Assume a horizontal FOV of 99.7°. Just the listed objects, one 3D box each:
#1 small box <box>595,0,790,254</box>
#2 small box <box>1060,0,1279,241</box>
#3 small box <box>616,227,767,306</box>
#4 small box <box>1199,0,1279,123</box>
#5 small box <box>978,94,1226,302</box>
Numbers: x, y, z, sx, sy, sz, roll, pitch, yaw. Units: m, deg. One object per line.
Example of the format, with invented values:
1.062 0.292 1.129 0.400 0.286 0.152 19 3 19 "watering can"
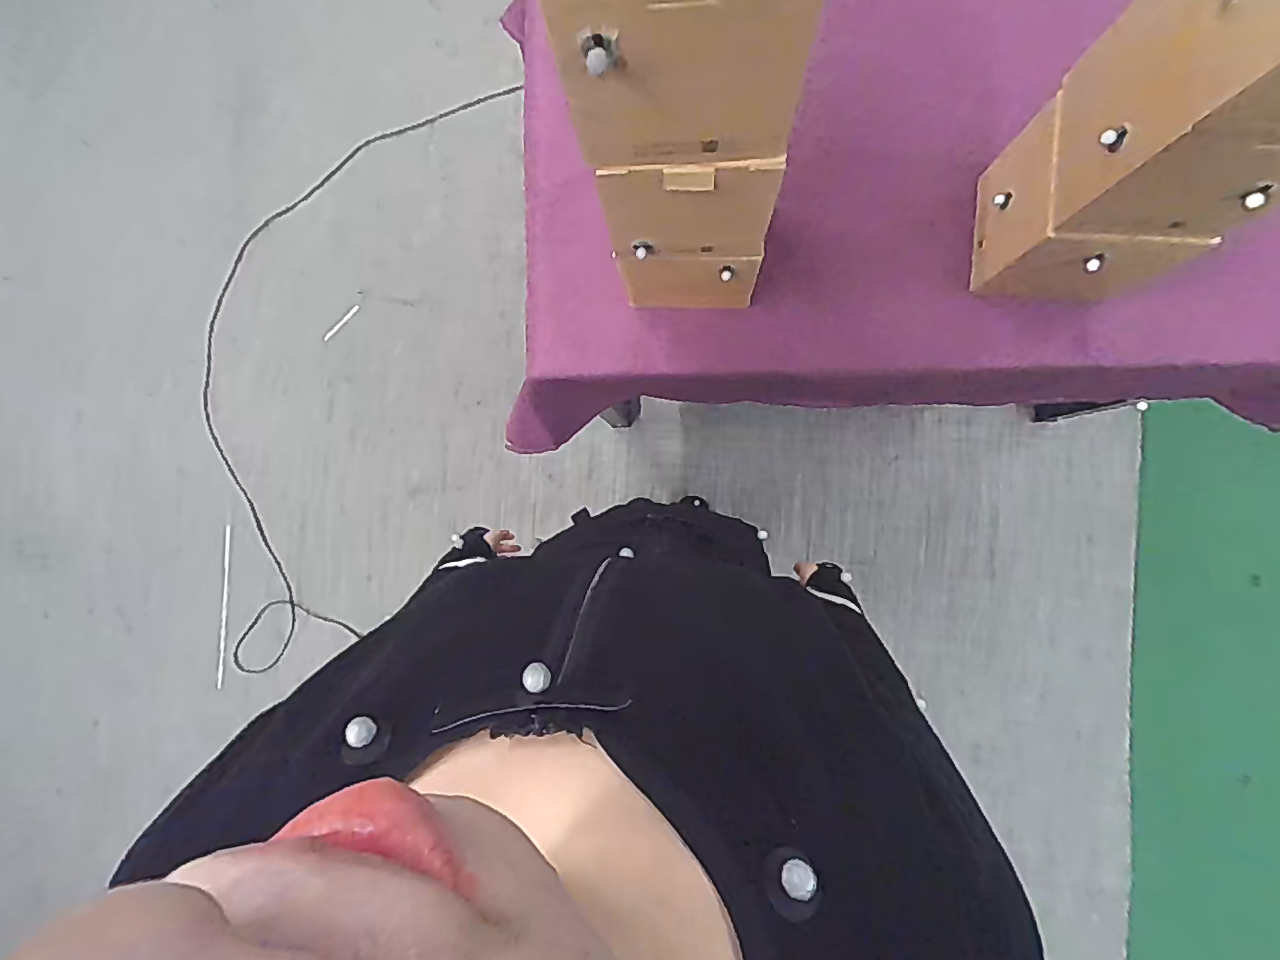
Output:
0.052 -0.345 0.544 0.168 0.176 0.179 2 87 5 "small box"
0.528 -0.342 0.495 0.168 0.176 0.179 6 88 5 "small box"
0.069 -0.336 0.707 0.179 0.176 0.168 2 88 5 "small box"
0.509 -0.348 0.332 0.168 0.176 0.179 5 89 5 "small box"
0.544 -0.328 0.656 0.179 0.176 0.168 7 89 6 "small box"
